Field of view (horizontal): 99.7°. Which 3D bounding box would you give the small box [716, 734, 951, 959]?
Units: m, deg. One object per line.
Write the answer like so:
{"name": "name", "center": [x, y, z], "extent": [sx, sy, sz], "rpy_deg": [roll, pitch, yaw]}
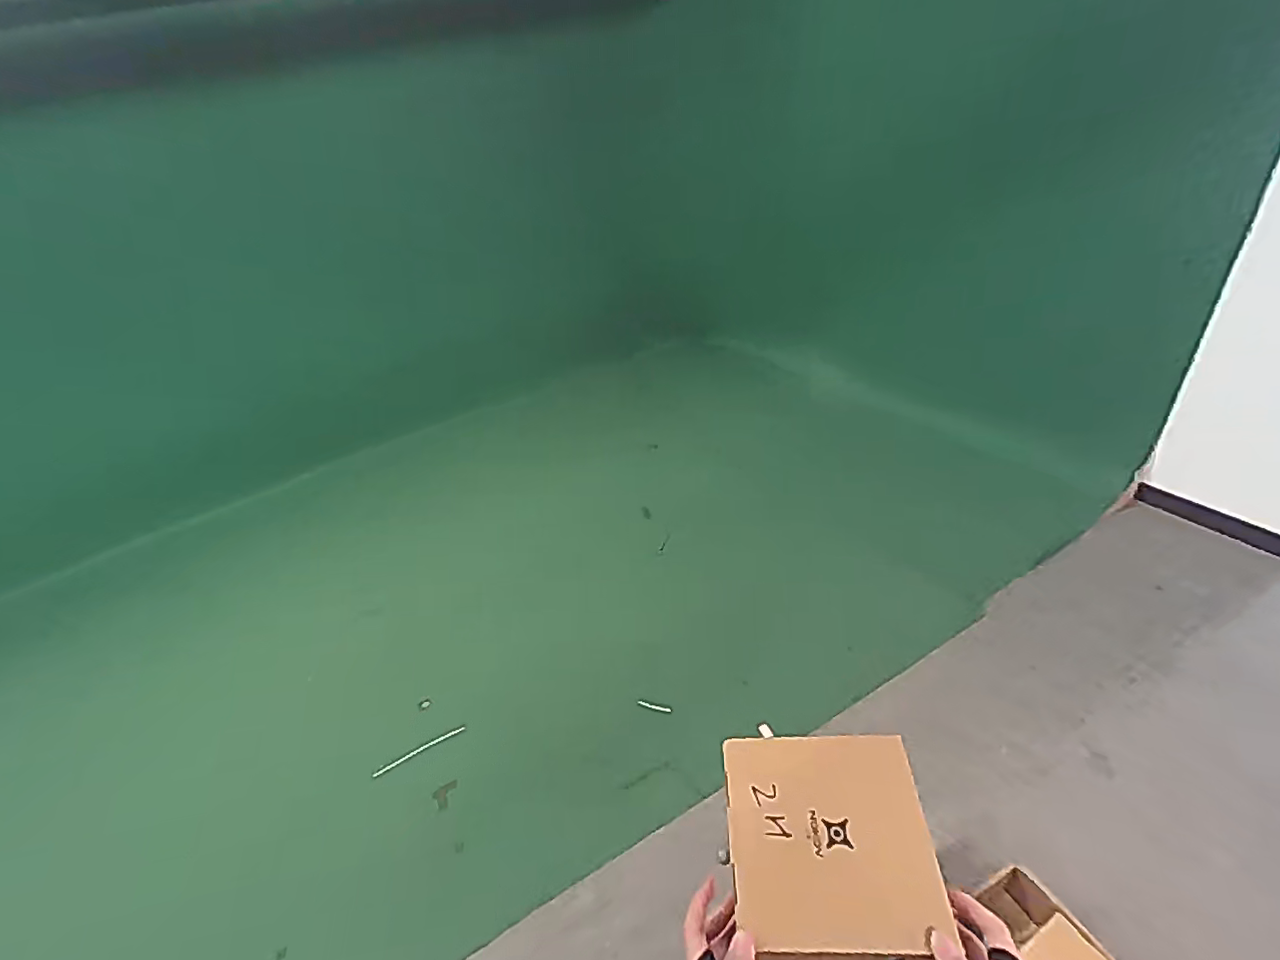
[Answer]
{"name": "small box", "center": [0.169, 0.367, 0.537], "extent": [0.179, 0.176, 0.168], "rpy_deg": [-5, 45, 8]}

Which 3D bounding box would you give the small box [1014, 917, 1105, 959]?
{"name": "small box", "center": [0.720, 0.904, 0.914], "extent": [0.179, 0.176, 0.168], "rpy_deg": [-25, 38, -17]}
